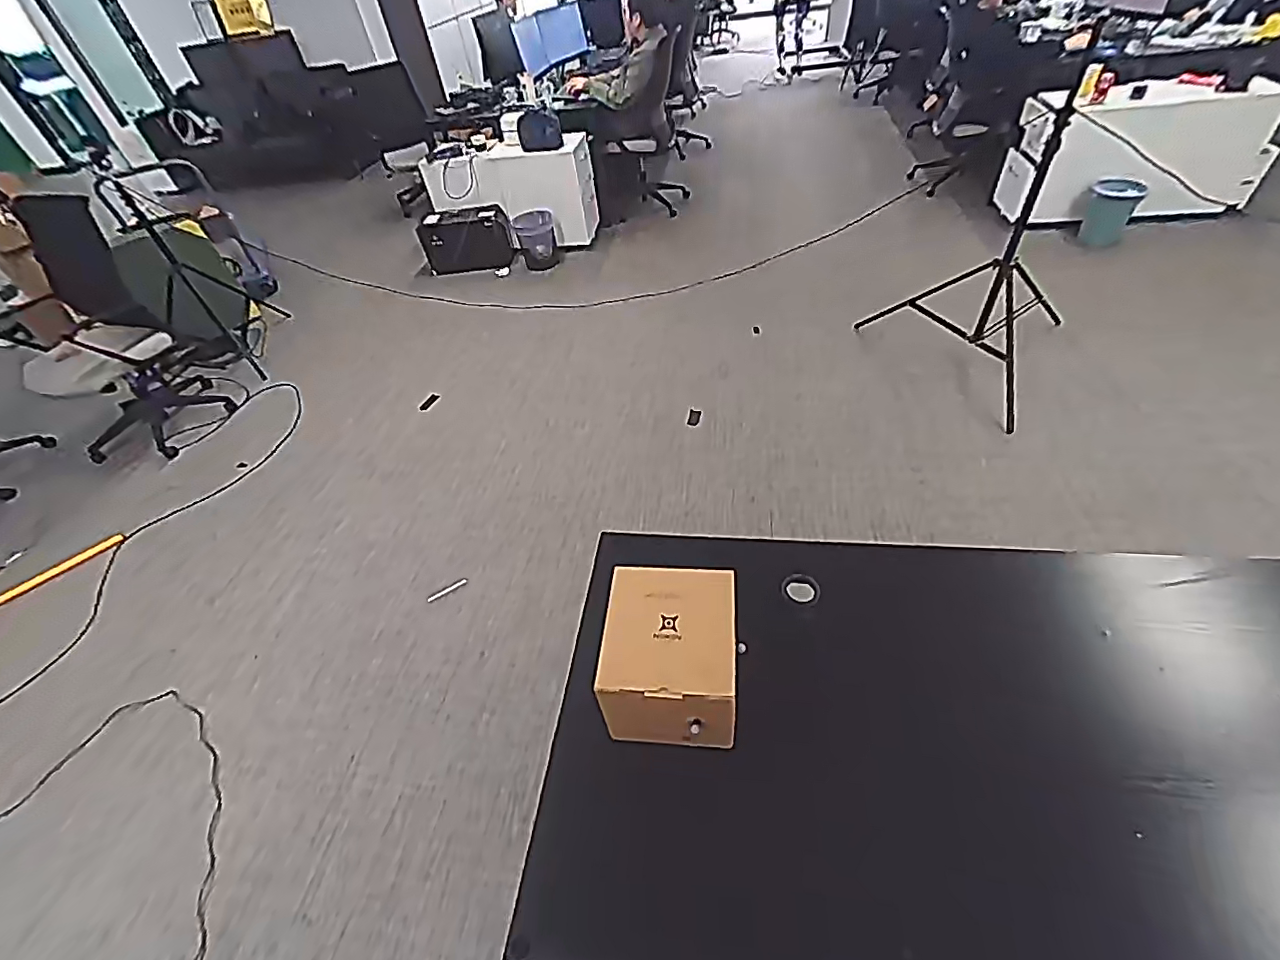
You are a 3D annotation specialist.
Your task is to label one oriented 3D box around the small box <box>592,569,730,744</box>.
[{"bbox_3d":[0.039,0.243,0.742,0.168,0.176,0.179,1,46,7],"label":"small box"}]
